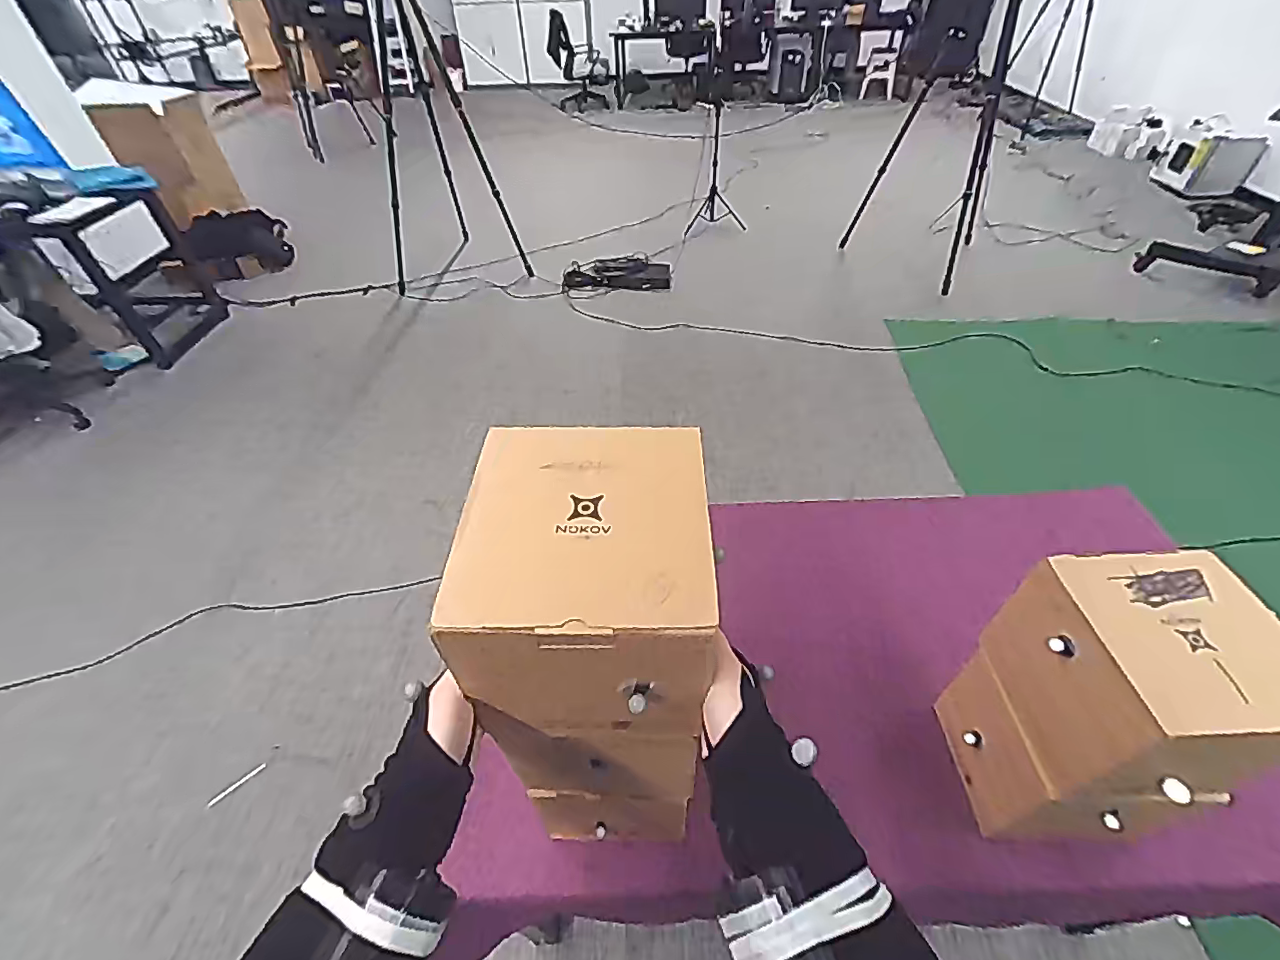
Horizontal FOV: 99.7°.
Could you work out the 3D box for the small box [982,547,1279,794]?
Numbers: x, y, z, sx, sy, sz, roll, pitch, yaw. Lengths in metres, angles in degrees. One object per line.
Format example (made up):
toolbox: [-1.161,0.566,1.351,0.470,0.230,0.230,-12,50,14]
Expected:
small box: [0.483,0.187,0.534,0.168,0.176,0.179,-3,45,1]

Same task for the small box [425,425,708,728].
small box: [-0.038,0.076,0.417,0.168,0.176,0.179,0,46,1]

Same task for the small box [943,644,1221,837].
small box: [0.490,0.310,0.643,0.179,0.176,0.168,-1,45,3]

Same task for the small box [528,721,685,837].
small box: [-0.032,0.317,0.668,0.168,0.176,0.179,-1,45,2]
